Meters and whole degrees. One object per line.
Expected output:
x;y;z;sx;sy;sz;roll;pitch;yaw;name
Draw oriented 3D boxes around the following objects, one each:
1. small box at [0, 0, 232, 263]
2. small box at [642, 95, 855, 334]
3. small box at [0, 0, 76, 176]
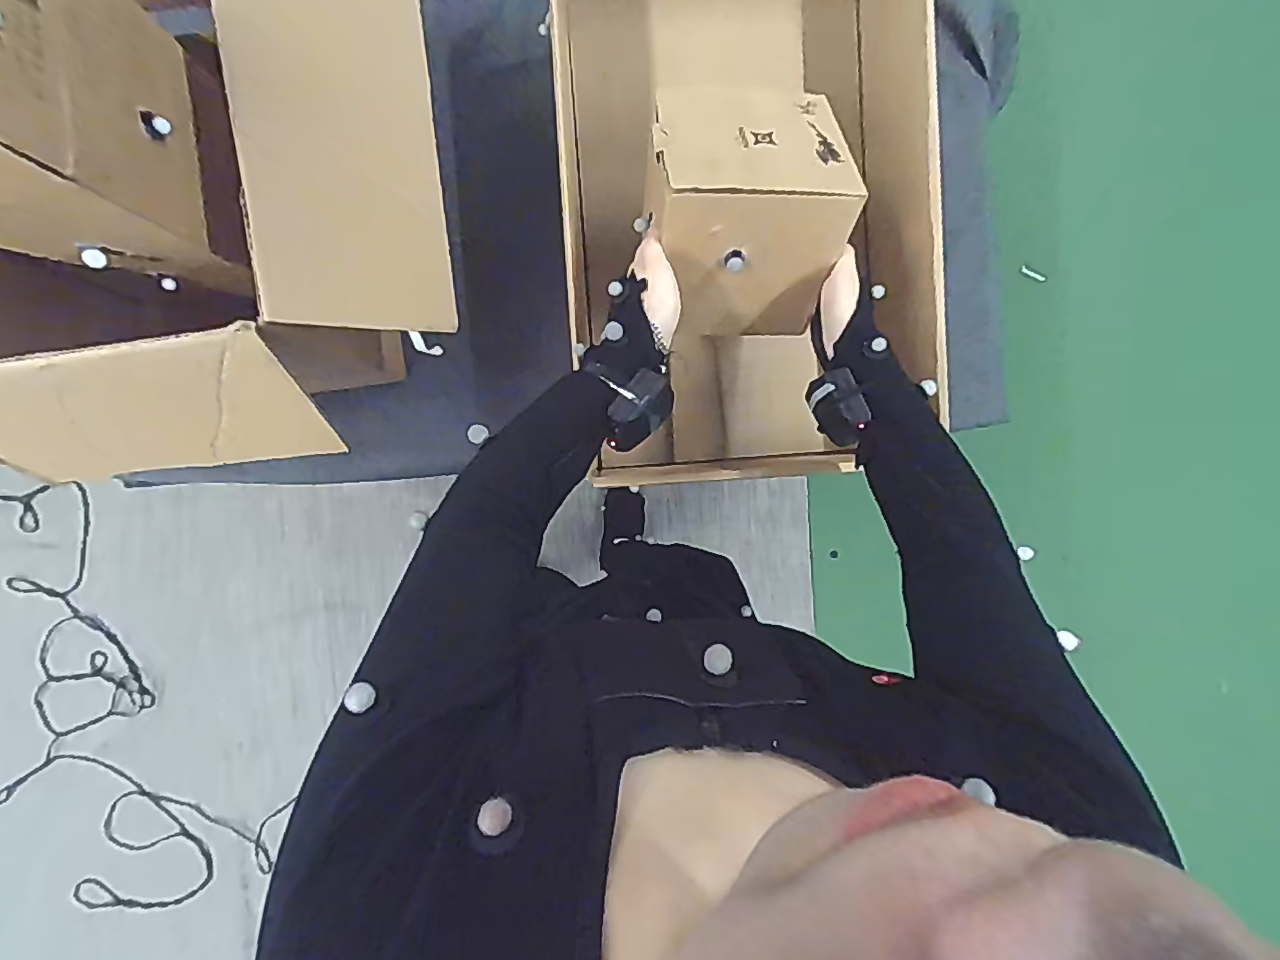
-0.477;-0.294;0.442;0.168;0.176;0.179;-2;95;-4;small box
0.093;-0.271;0.571;0.179;0.176;0.168;-1;61;-5;small box
-0.466;-0.282;0.281;0.179;0.176;0.168;-1;93;-5;small box
